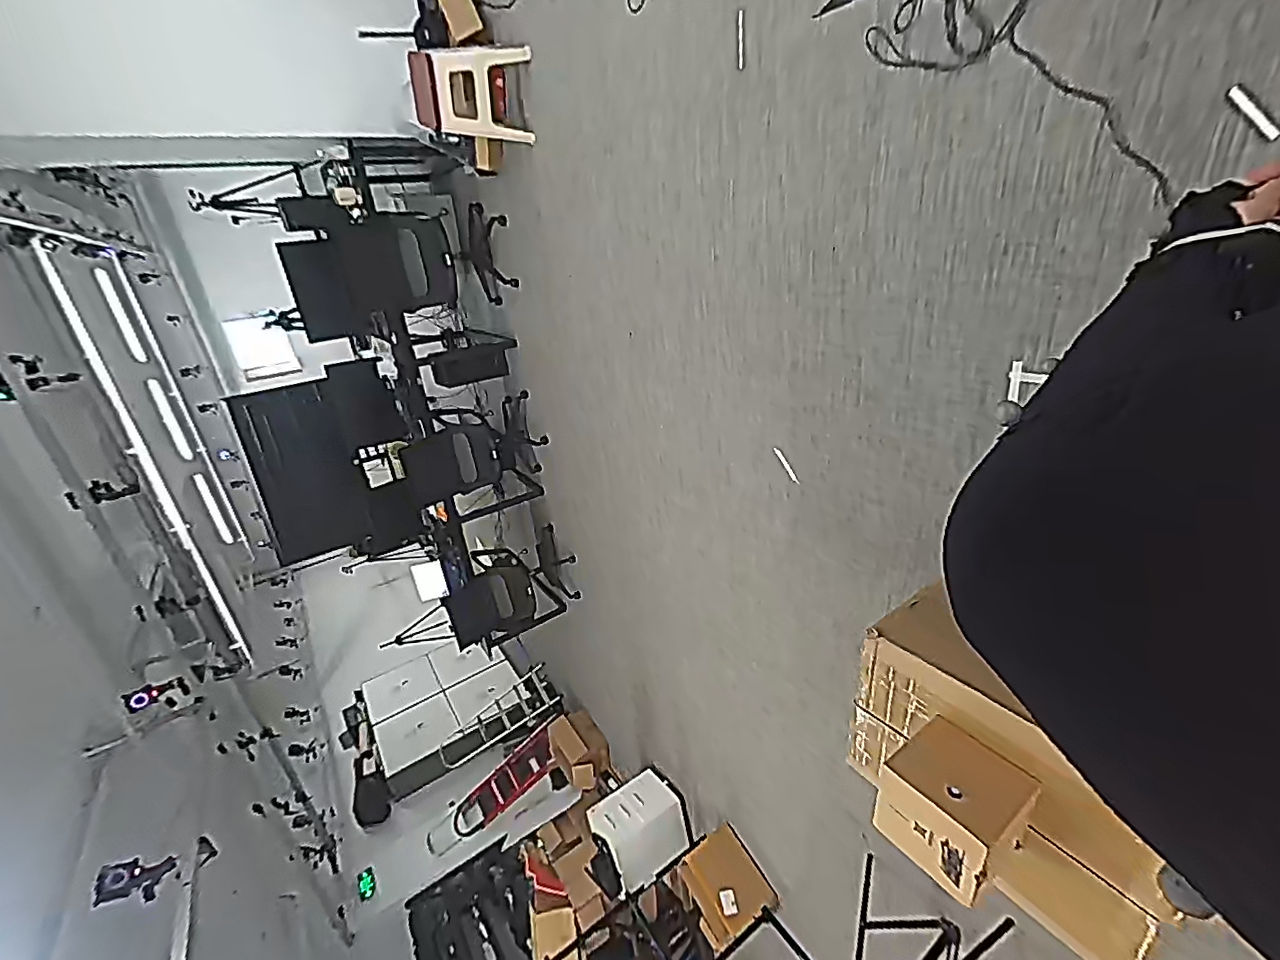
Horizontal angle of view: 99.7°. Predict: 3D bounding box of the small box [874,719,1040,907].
[{"bbox_3d":[0.533,0.548,0.916,0.179,0.176,0.168,30,132,50],"label":"small box"}]
